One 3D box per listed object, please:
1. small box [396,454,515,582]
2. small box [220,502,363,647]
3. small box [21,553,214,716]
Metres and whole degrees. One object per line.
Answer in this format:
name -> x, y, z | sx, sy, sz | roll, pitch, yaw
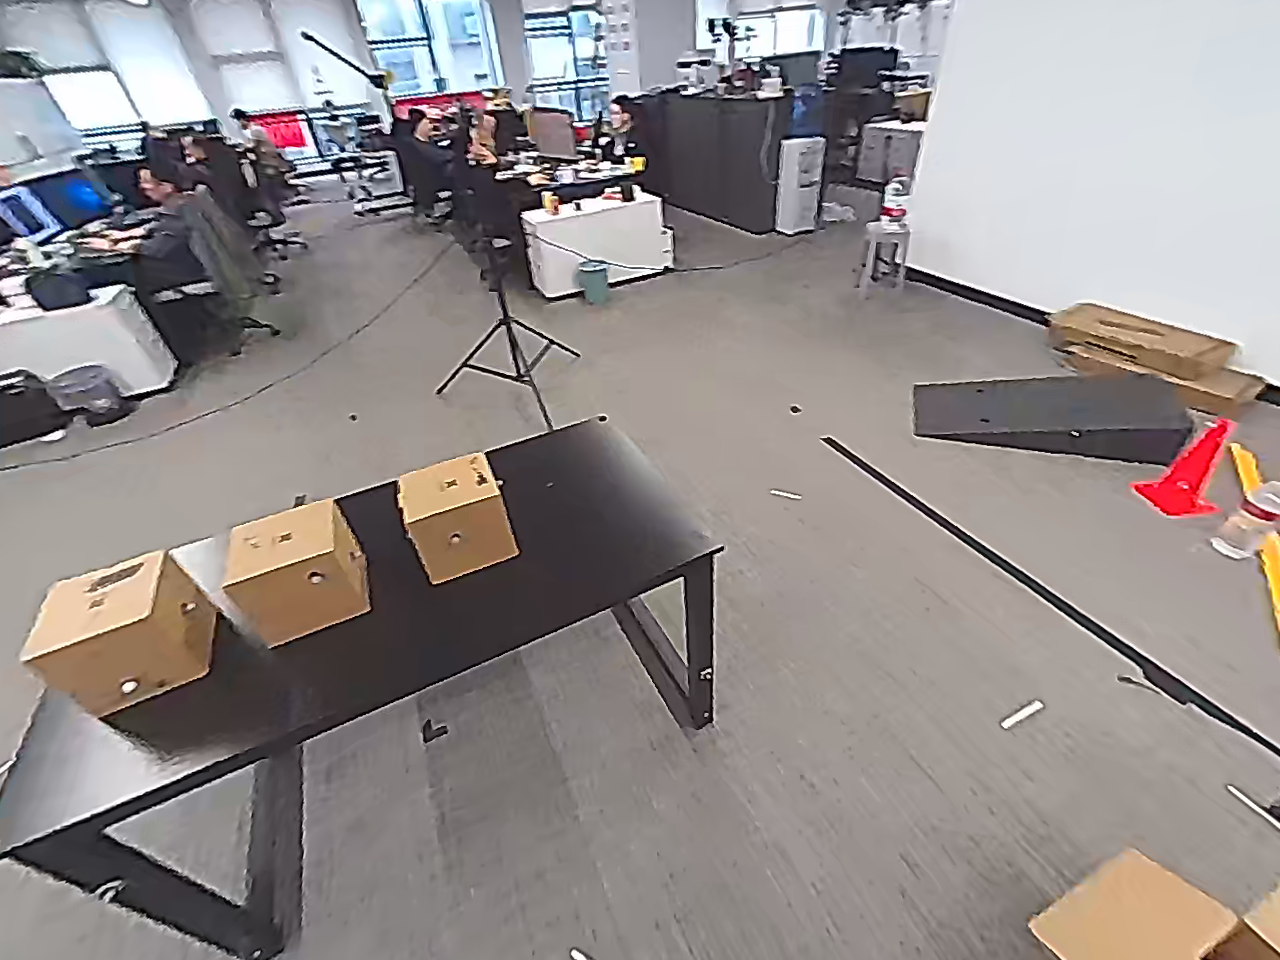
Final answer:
small box -> -0.375, 0.079, 1.104 | 0.179, 0.176, 0.168 | -20, 40, -16
small box -> -0.637, 0.175, 1.013 | 0.179, 0.176, 0.168 | -20, 40, -18
small box -> -0.874, 0.264, 0.931 | 0.168, 0.176, 0.179 | -22, 42, -19
